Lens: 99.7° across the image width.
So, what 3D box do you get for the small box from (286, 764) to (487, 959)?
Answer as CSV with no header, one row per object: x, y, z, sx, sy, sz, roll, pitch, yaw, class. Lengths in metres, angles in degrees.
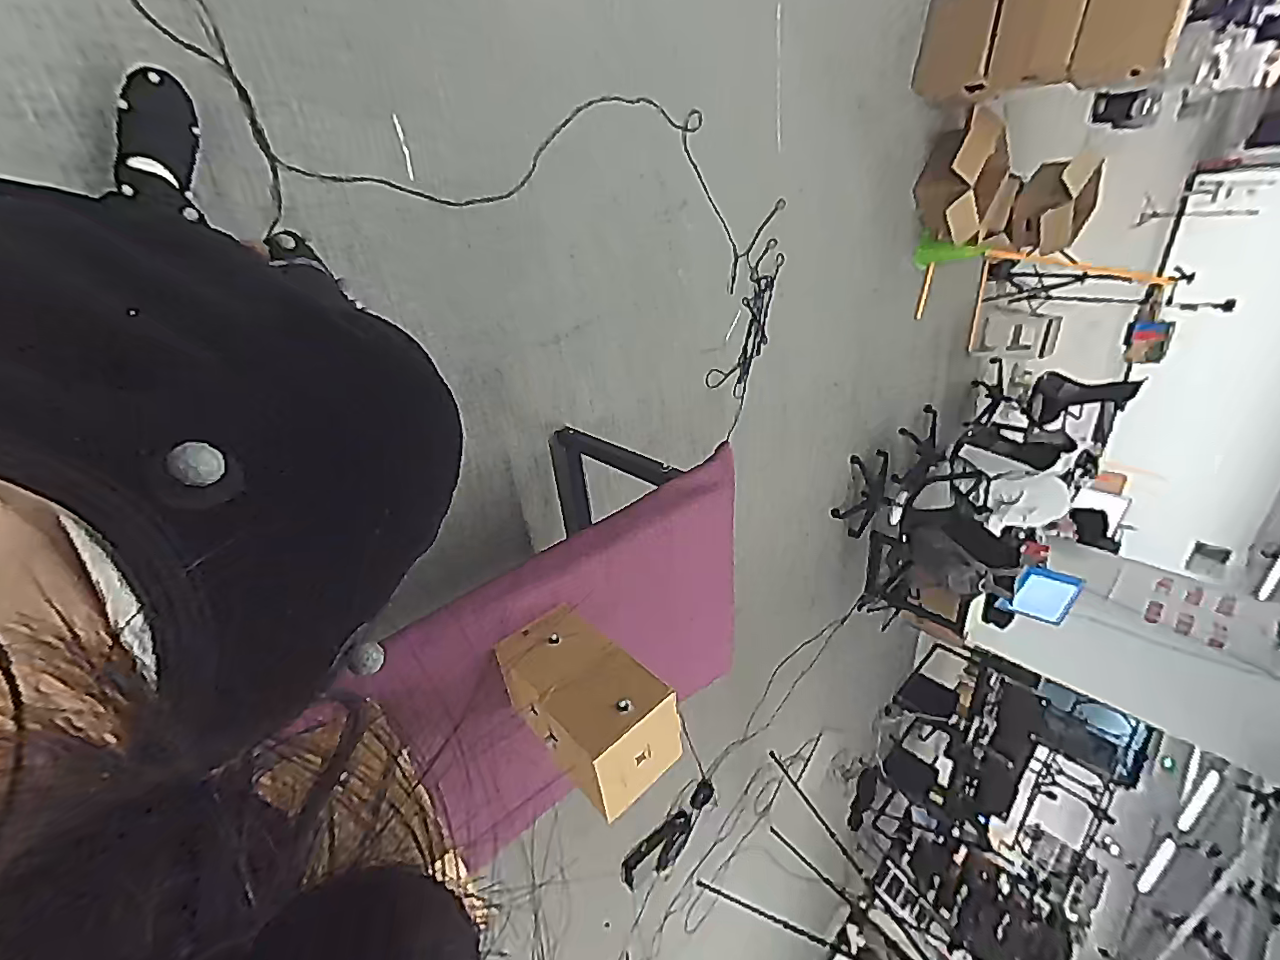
-0.331,0.524,0.713,0.168,0.176,0.179,-29,125,-34,small box

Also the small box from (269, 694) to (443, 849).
-0.438,0.473,0.828,0.179,0.176,0.168,-29,124,-33,small box

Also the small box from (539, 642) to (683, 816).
-0.047,0.416,0.934,0.179,0.176,0.168,-27,124,-32,small box

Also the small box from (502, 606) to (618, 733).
-0.149,0.370,1.053,0.168,0.176,0.179,-27,125,-32,small box
